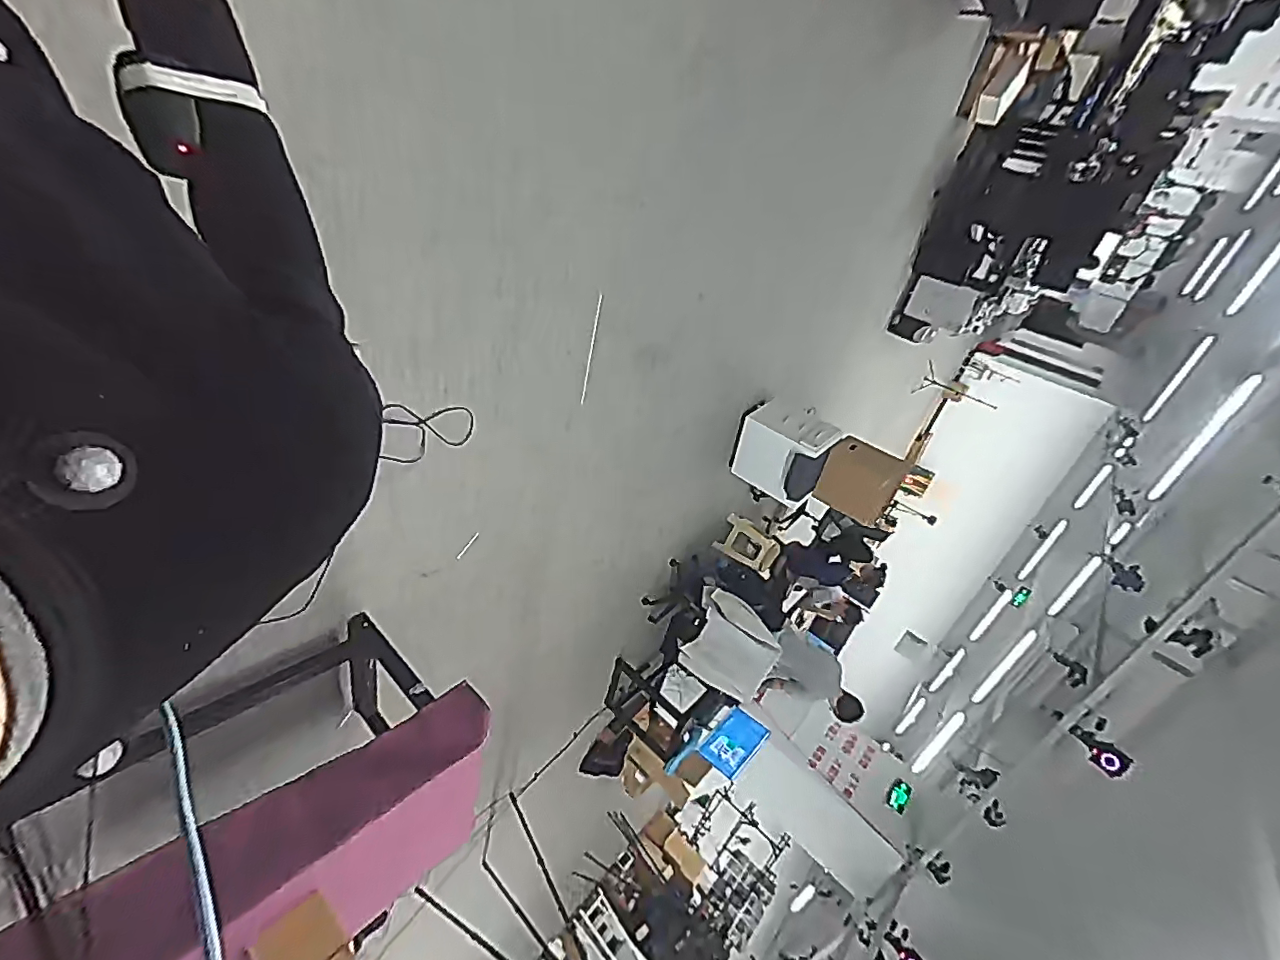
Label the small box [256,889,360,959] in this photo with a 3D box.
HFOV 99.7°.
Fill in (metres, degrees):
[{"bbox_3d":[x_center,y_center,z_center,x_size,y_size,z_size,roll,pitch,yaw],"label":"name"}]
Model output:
[{"bbox_3d":[-0.842,1.207,1.380,0.179,0.176,0.168,-21,136,-46],"label":"small box"}]
